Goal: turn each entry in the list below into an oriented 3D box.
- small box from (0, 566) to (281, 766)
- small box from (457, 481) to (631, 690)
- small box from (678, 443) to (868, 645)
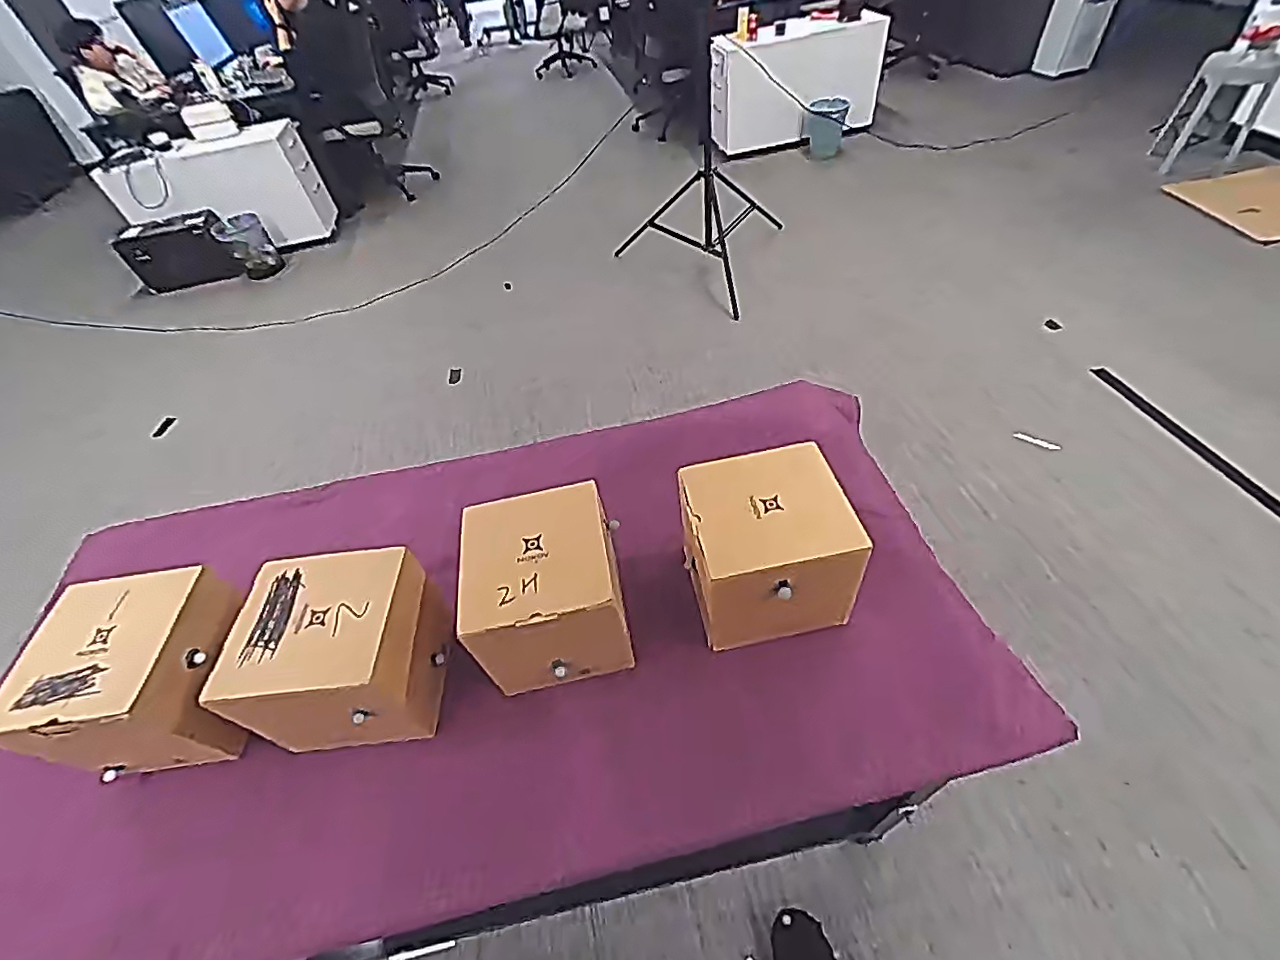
[{"bbox_3d":[-0.579,0.230,0.653,0.168,0.176,0.179,-8,48,1],"label":"small box"},{"bbox_3d":[-0.112,0.131,0.669,0.168,0.176,0.179,-12,48,-1],"label":"small box"},{"bbox_3d":[0.152,0.082,0.672,0.179,0.176,0.168,-12,47,0],"label":"small box"}]
